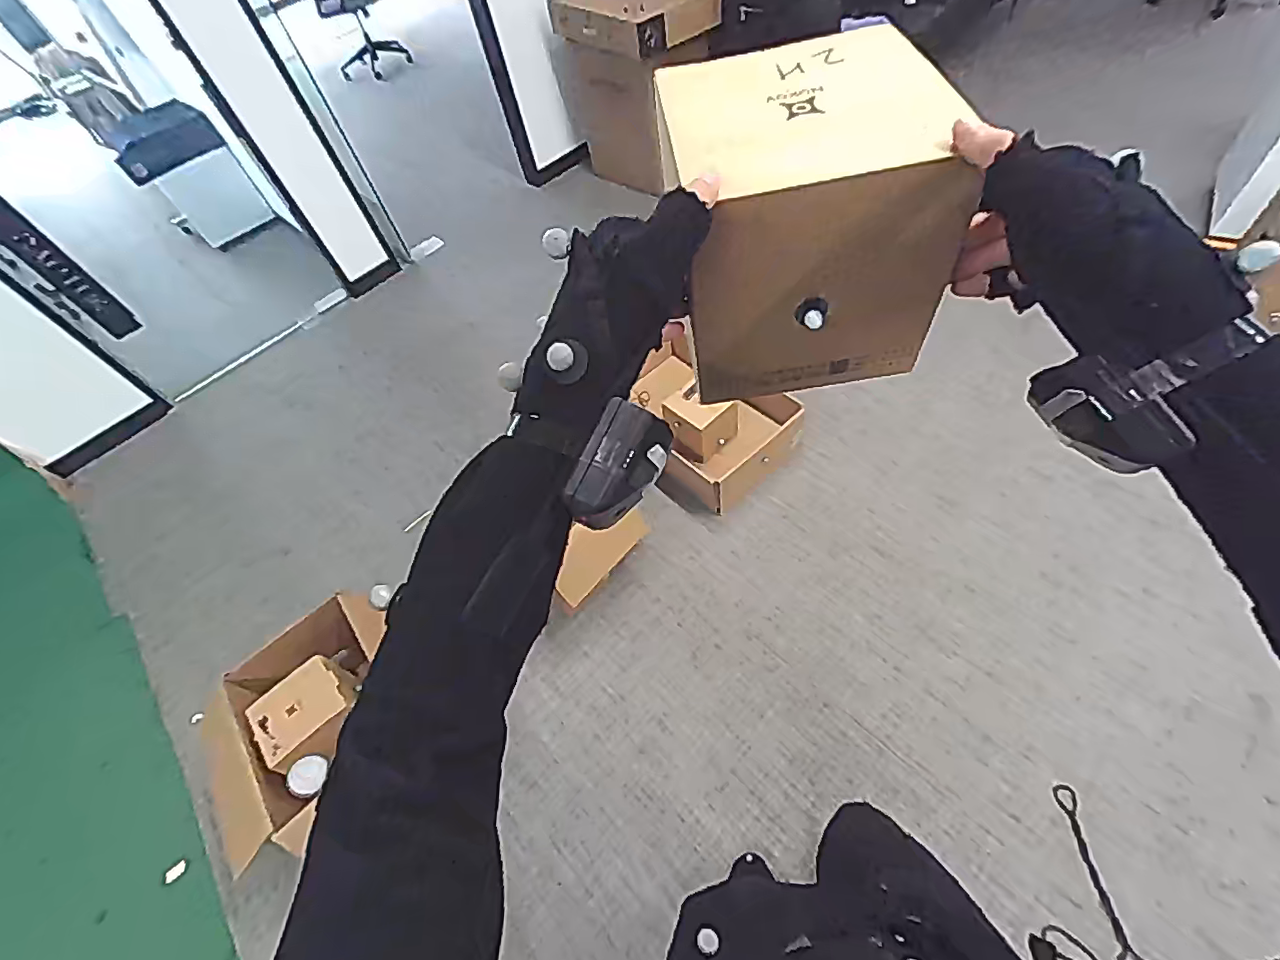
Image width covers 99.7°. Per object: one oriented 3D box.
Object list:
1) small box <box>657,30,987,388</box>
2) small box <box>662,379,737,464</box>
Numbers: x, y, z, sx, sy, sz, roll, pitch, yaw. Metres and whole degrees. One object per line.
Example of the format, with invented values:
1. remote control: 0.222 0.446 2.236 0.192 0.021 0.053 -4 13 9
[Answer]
1. small box: 0.110 -0.185 0.402 0.168 0.176 0.179 -9 56 4
2. small box: 0.193 -0.183 1.728 0.168 0.176 0.179 -40 57 -18
